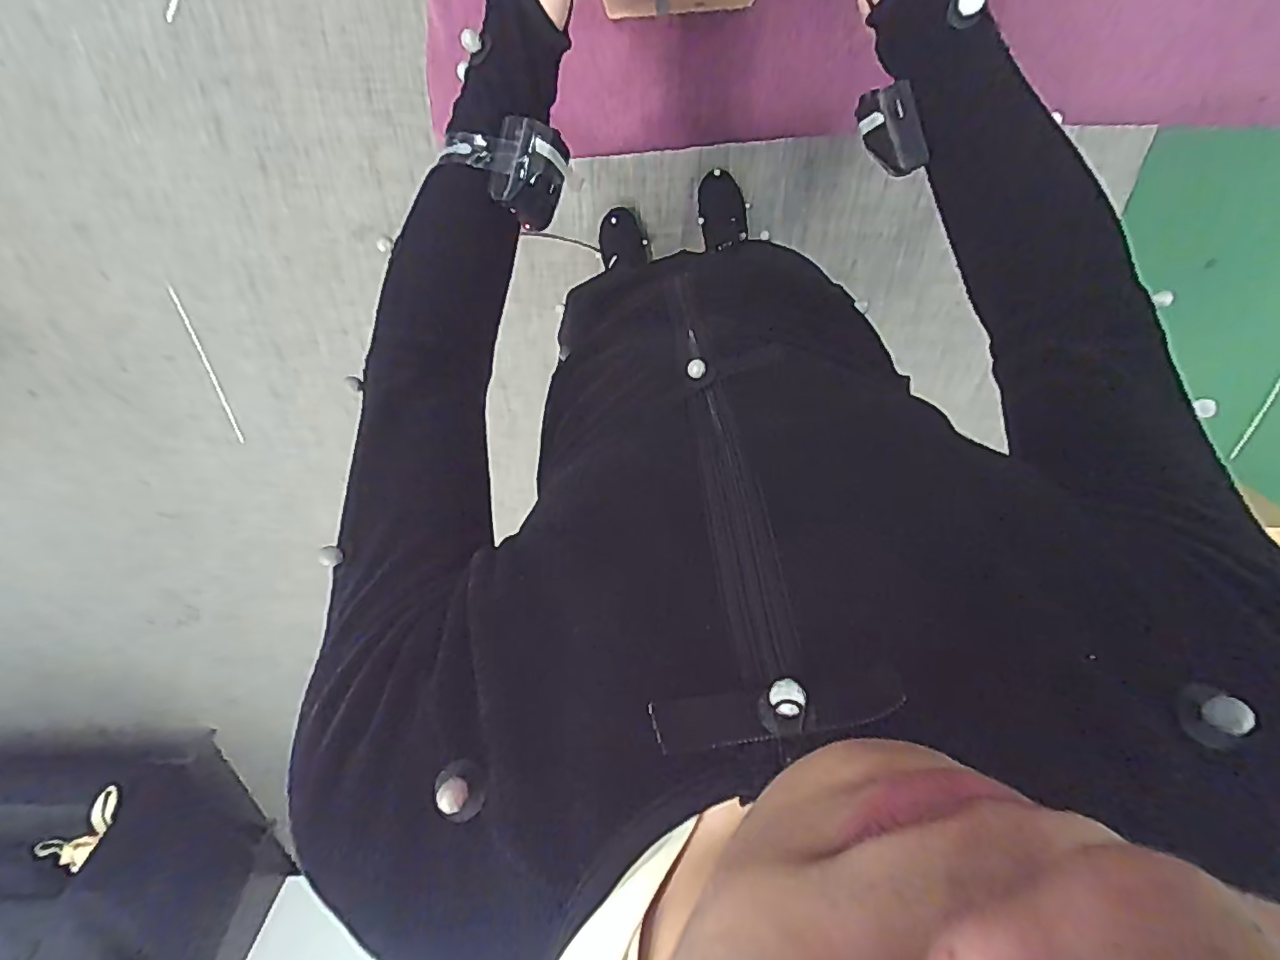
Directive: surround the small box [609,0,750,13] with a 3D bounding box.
[{"bbox_3d":[0.041,-0.564,0.505,0.168,0.176,0.179,-2,120,3],"label":"small box"}]
